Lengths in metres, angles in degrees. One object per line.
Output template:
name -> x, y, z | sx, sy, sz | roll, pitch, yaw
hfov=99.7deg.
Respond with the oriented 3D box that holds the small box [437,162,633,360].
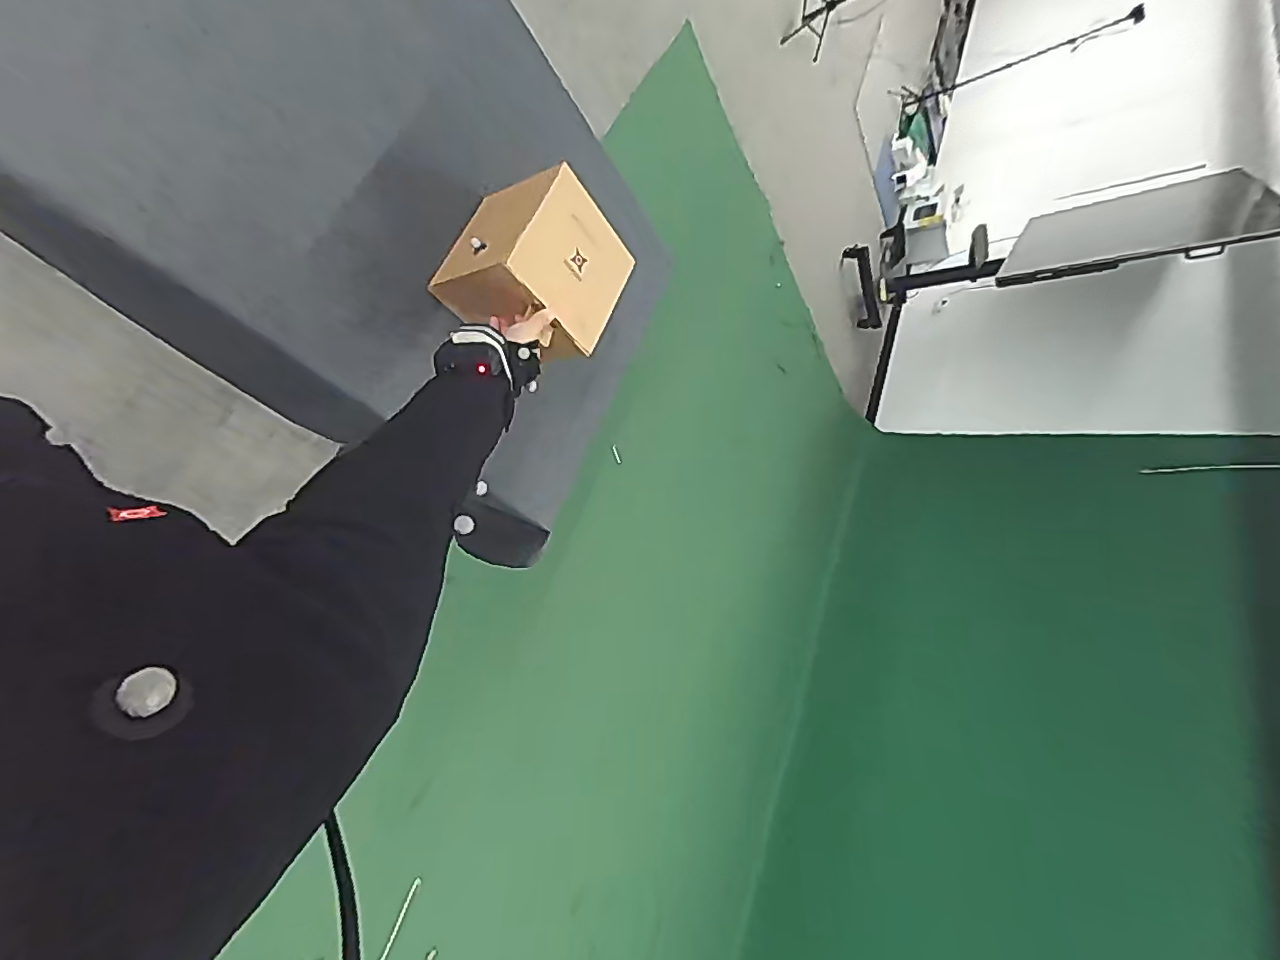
small box -> -0.144, -0.281, 0.737 | 0.168, 0.176, 0.179 | 43, 60, -45
